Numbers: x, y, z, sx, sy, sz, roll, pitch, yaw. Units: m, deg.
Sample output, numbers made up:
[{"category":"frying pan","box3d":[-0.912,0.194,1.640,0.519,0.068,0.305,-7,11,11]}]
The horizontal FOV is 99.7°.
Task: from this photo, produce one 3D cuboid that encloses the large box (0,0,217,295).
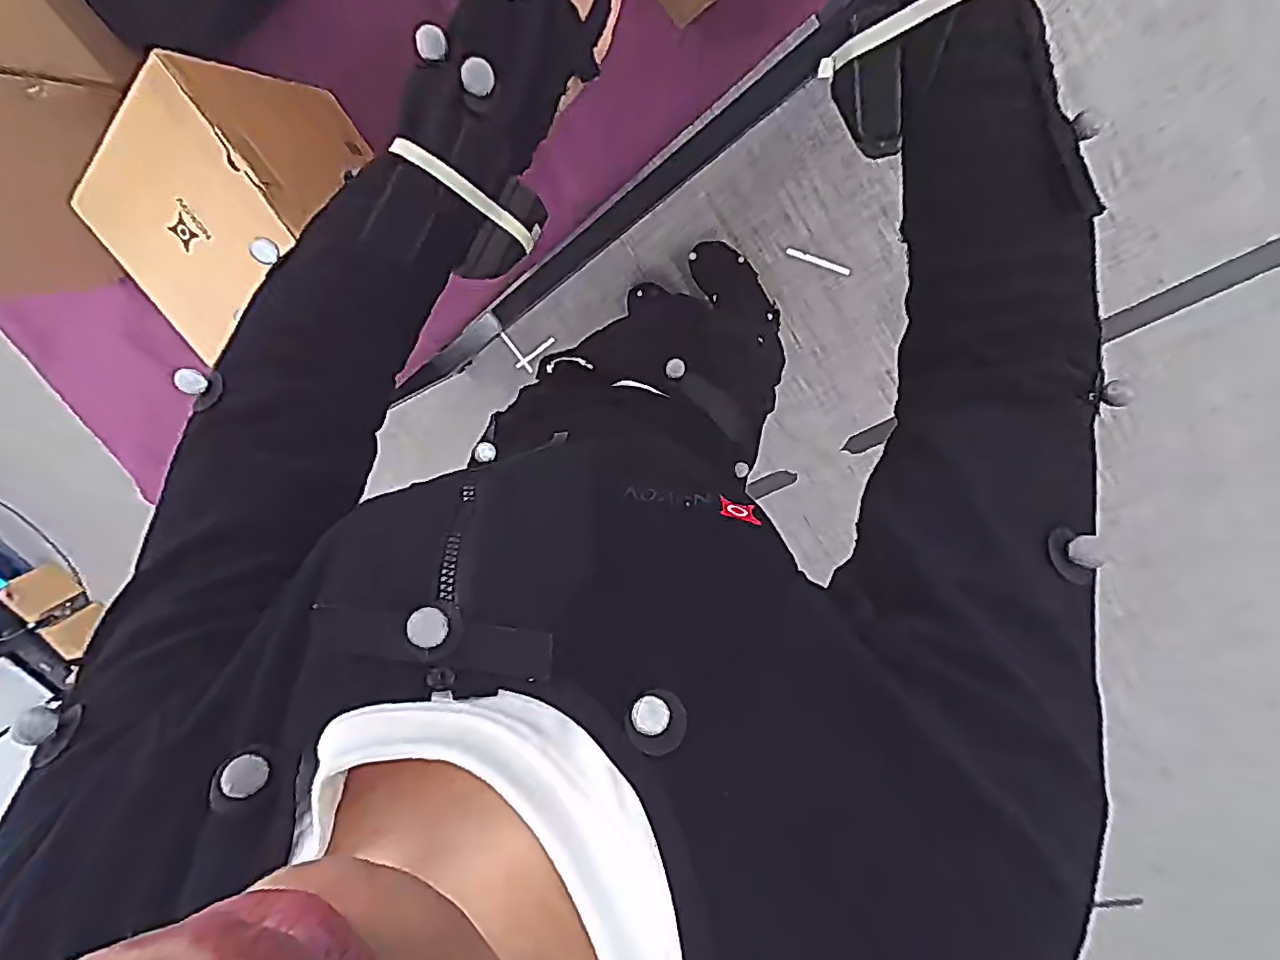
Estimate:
[{"category":"large box","box3d":[-0.693,-0.403,0.441,0.320,0.320,0.408,-31,107,27]}]
